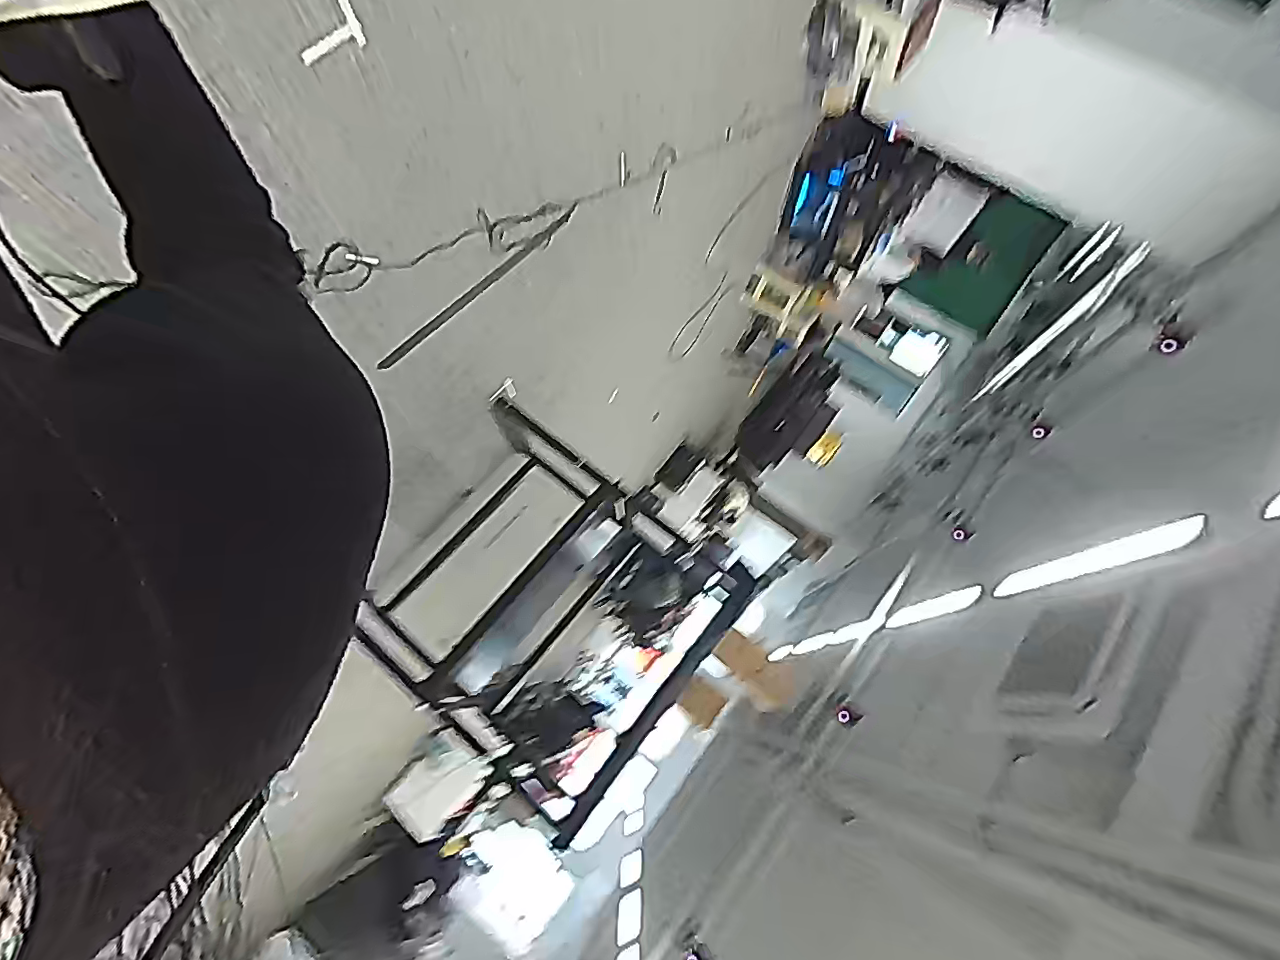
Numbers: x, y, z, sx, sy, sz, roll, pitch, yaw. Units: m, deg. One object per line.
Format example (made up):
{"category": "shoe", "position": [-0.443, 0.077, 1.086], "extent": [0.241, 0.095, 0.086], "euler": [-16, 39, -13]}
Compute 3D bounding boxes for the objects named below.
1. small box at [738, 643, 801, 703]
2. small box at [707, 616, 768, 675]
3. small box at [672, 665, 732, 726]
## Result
{"category": "small box", "position": [0.521, 0.785, 2.204], "extent": [0.168, 0.176, 0.179], "euler": [-49, 168, -18]}
{"category": "small box", "position": [0.398, 0.684, 2.237], "extent": [0.168, 0.176, 0.179], "euler": [-48, 168, -16]}
{"category": "small box", "position": [0.247, 0.870, 2.190], "extent": [0.168, 0.176, 0.179], "euler": [-49, 169, -18]}
